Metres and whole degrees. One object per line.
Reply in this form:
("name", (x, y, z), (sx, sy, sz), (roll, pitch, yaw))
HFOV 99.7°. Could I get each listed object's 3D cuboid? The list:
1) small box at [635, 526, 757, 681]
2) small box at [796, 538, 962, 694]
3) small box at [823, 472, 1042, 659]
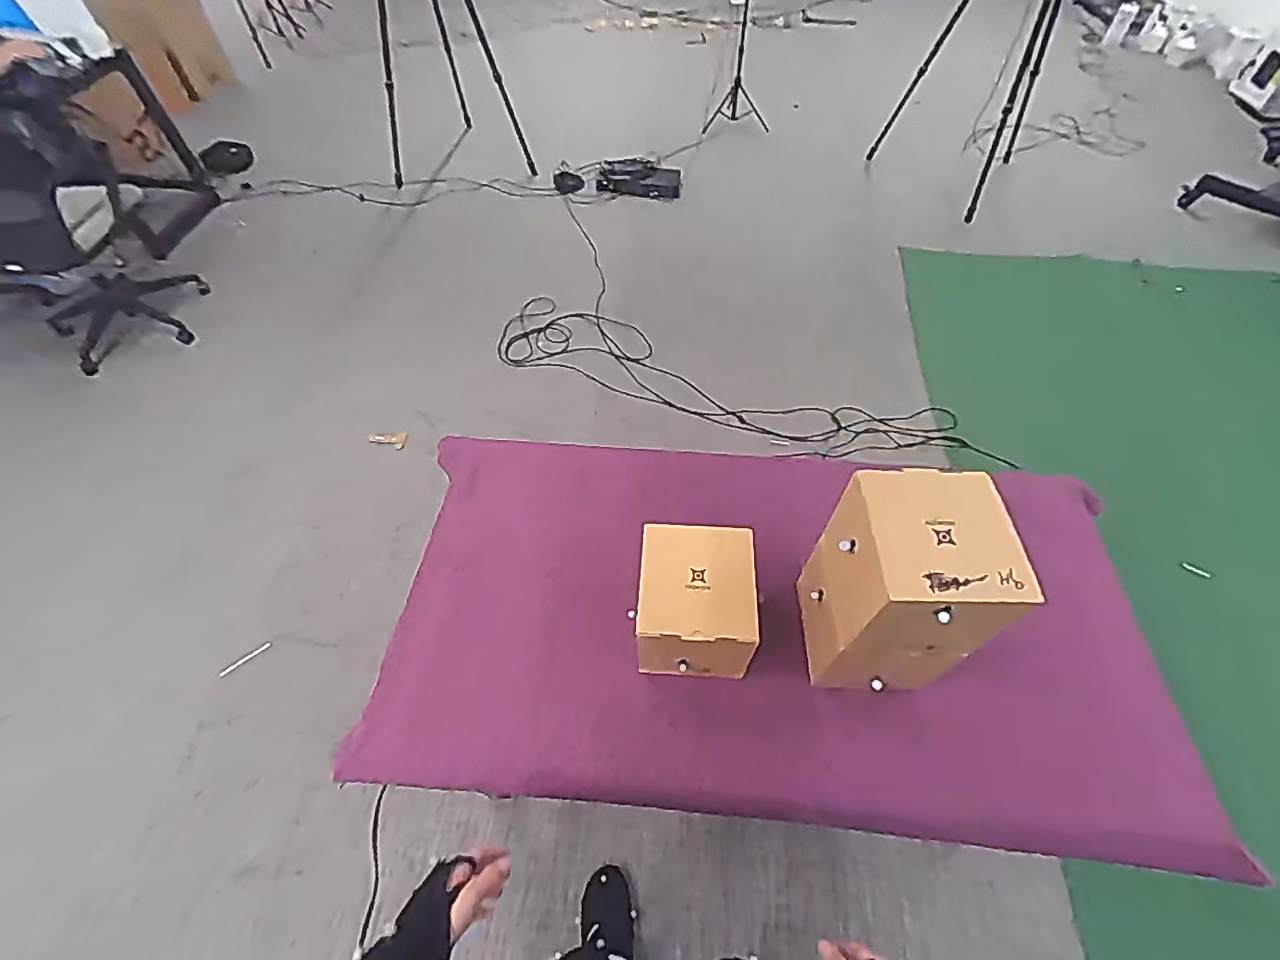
("small box", (0.079, 0.191, 0.829), (0.168, 0.176, 0.179), (3, 55, 2))
("small box", (0.341, 0.206, 0.815), (0.168, 0.176, 0.179), (3, 55, 2))
("small box", (0.343, 0.109, 0.682), (0.168, 0.176, 0.179), (1, 53, 1))
